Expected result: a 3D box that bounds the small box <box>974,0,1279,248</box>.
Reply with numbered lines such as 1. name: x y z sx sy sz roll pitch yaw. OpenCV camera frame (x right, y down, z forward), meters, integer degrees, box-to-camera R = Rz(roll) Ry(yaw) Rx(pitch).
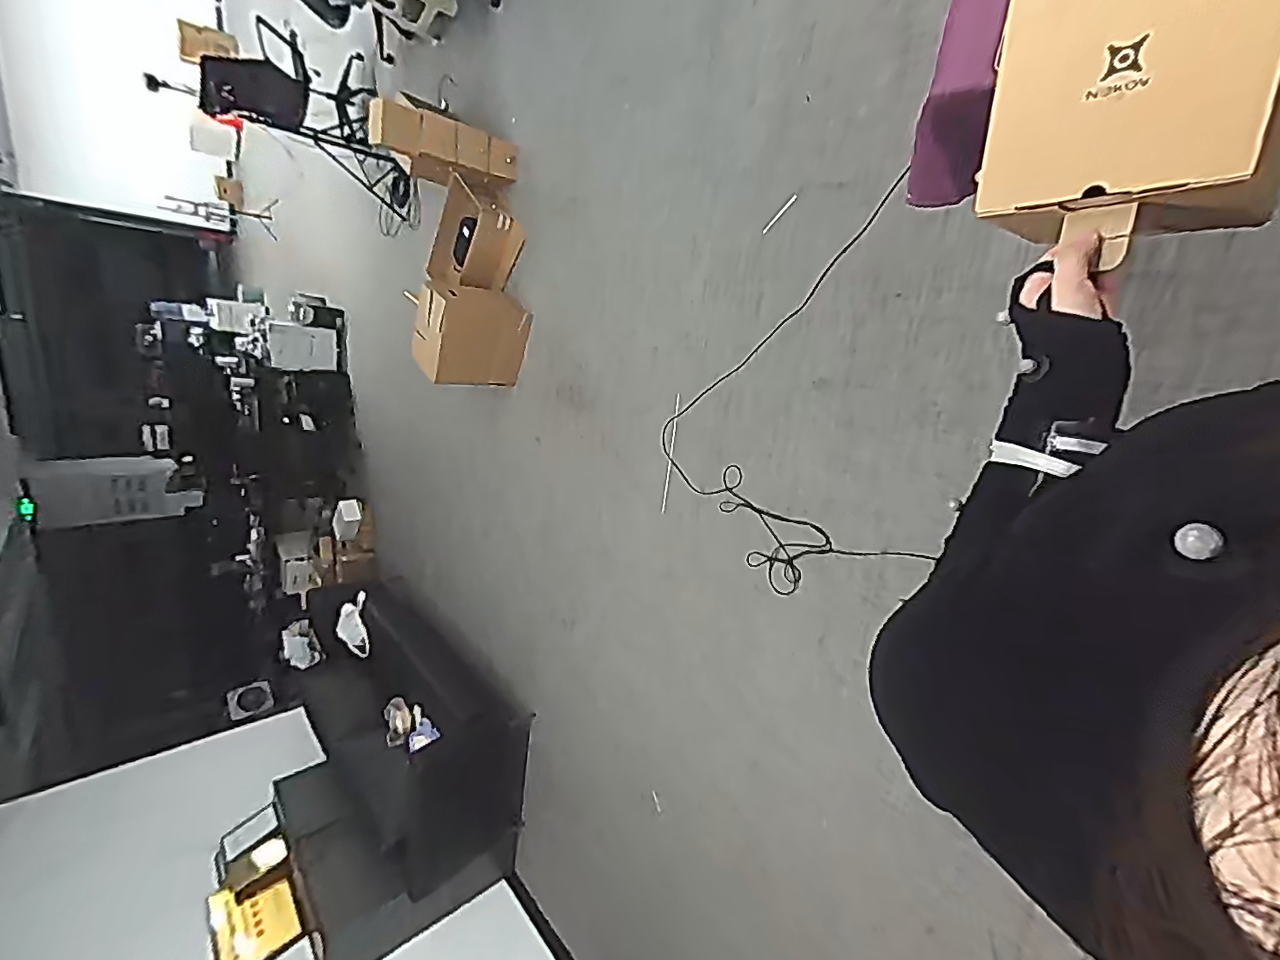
1. small box: 0.411 -0.303 0.447 0.168 0.176 0.179 19 112 48
